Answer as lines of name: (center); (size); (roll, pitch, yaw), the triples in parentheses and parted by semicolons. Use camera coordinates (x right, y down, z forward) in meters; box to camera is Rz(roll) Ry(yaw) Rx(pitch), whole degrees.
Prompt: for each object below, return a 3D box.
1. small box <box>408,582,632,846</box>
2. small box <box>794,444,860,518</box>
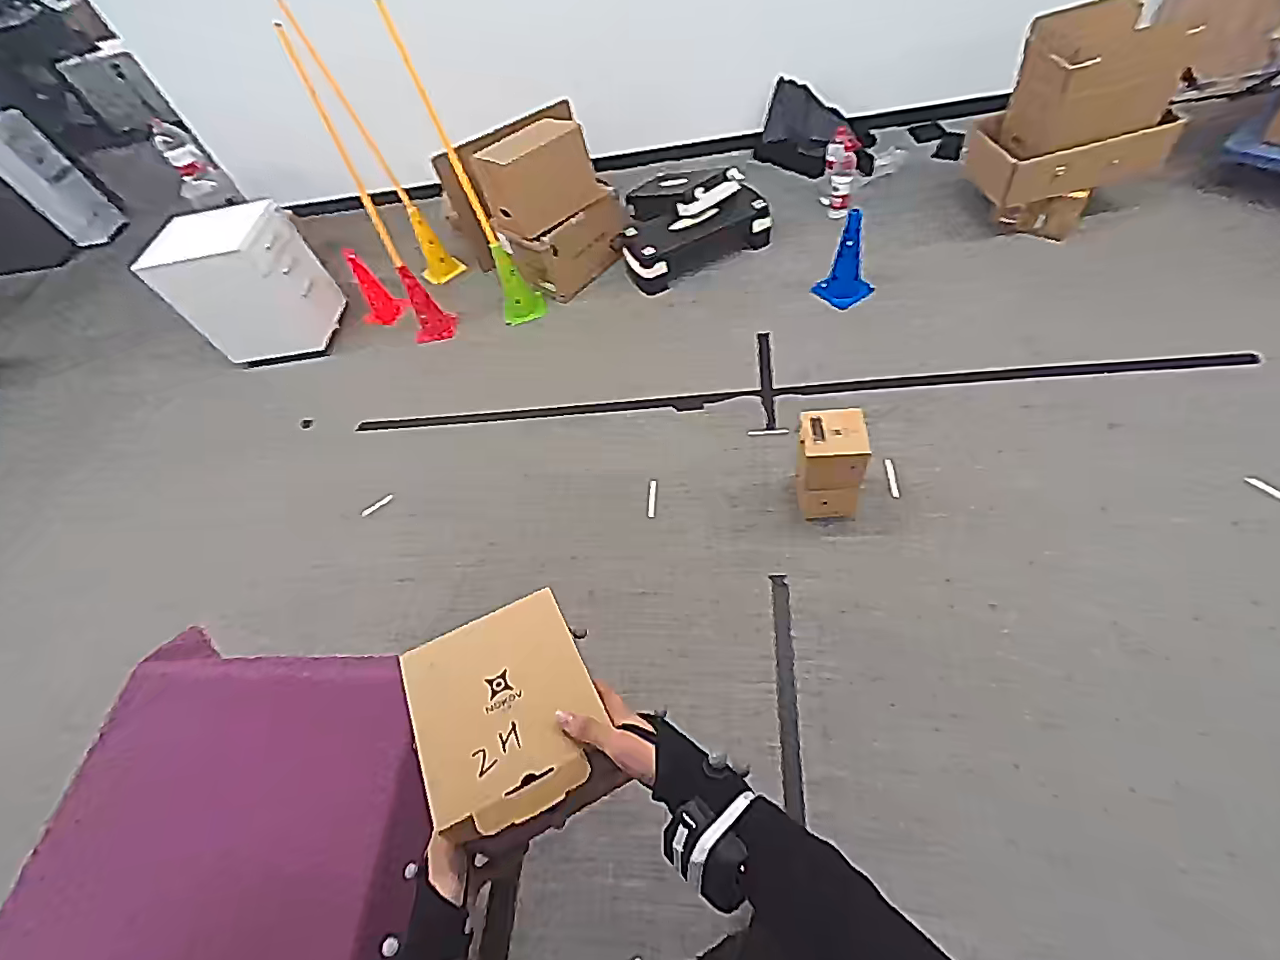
small box: (-0.120, 0.246, 0.570); (0.168, 0.176, 0.179); (-23, 51, -13)
small box: (0.589, 0.009, 1.722); (0.168, 0.176, 0.179); (-6, 55, 8)
